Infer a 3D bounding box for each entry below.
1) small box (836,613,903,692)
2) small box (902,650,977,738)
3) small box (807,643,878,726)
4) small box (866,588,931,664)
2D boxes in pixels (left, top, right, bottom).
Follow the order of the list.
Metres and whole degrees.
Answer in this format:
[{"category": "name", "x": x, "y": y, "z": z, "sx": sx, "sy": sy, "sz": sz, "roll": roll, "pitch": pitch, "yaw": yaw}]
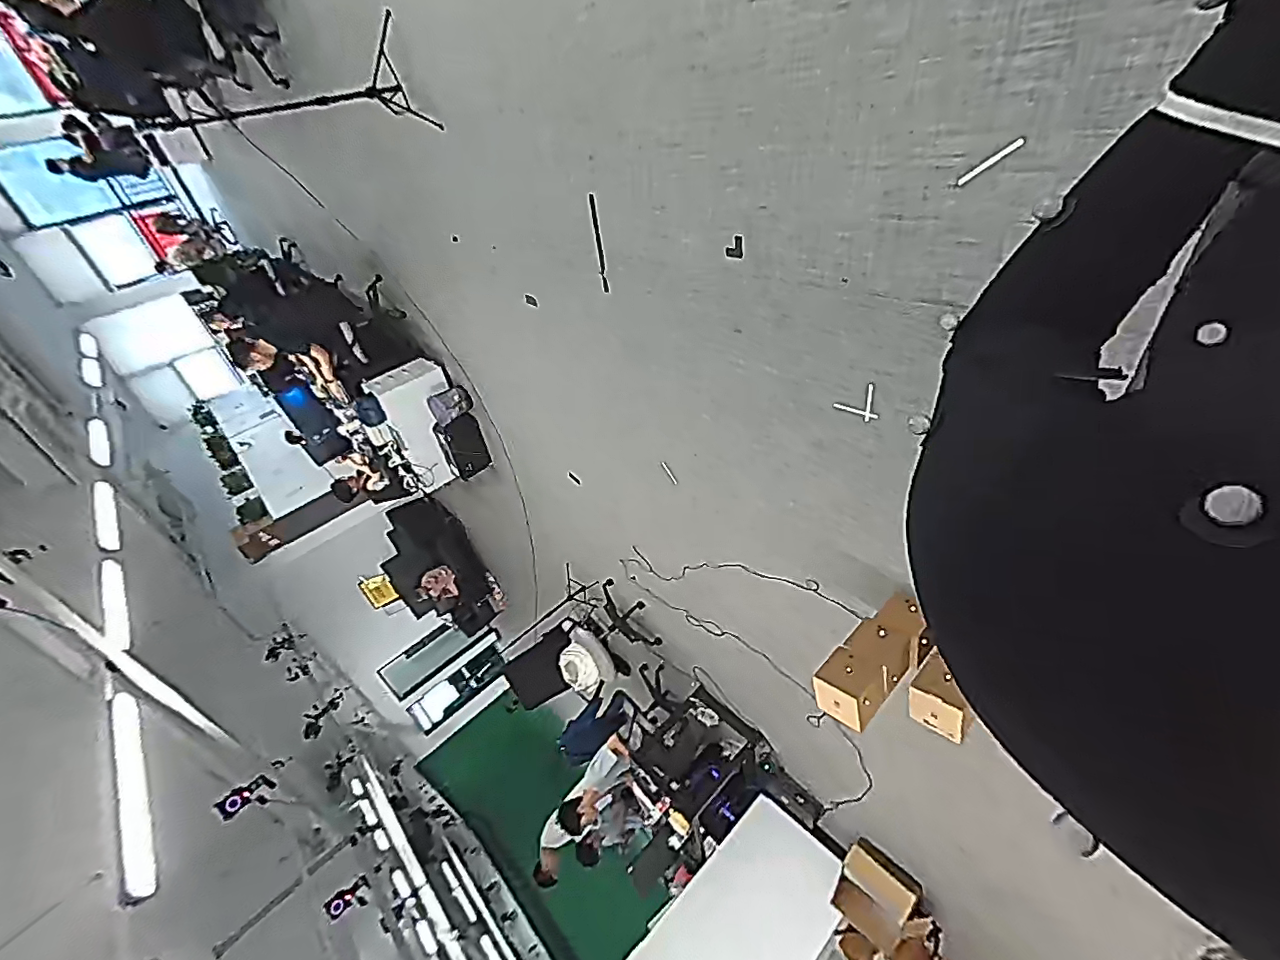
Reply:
[{"category": "small box", "x": 0.831, "y": 0.619, "z": 1.956, "sx": 0.168, "sy": 0.176, "sz": 0.179, "roll": 21, "pitch": 136, "yaw": 45}, {"category": "small box", "x": 0.997, "y": 0.704, "z": 1.800, "sx": 0.168, "sy": 0.176, "sz": 0.179, "roll": 22, "pitch": 137, "yaw": 46}, {"category": "small box", "x": 0.710, "y": 0.706, "z": 1.886, "sx": 0.168, "sy": 0.176, "sz": 0.179, "roll": 19, "pitch": 135, "yaw": 48}, {"category": "small box", "x": 0.965, "y": 0.539, "z": 2.014, "sx": 0.168, "sy": 0.176, "sz": 0.179, "roll": 20, "pitch": 136, "yaw": 46}]
